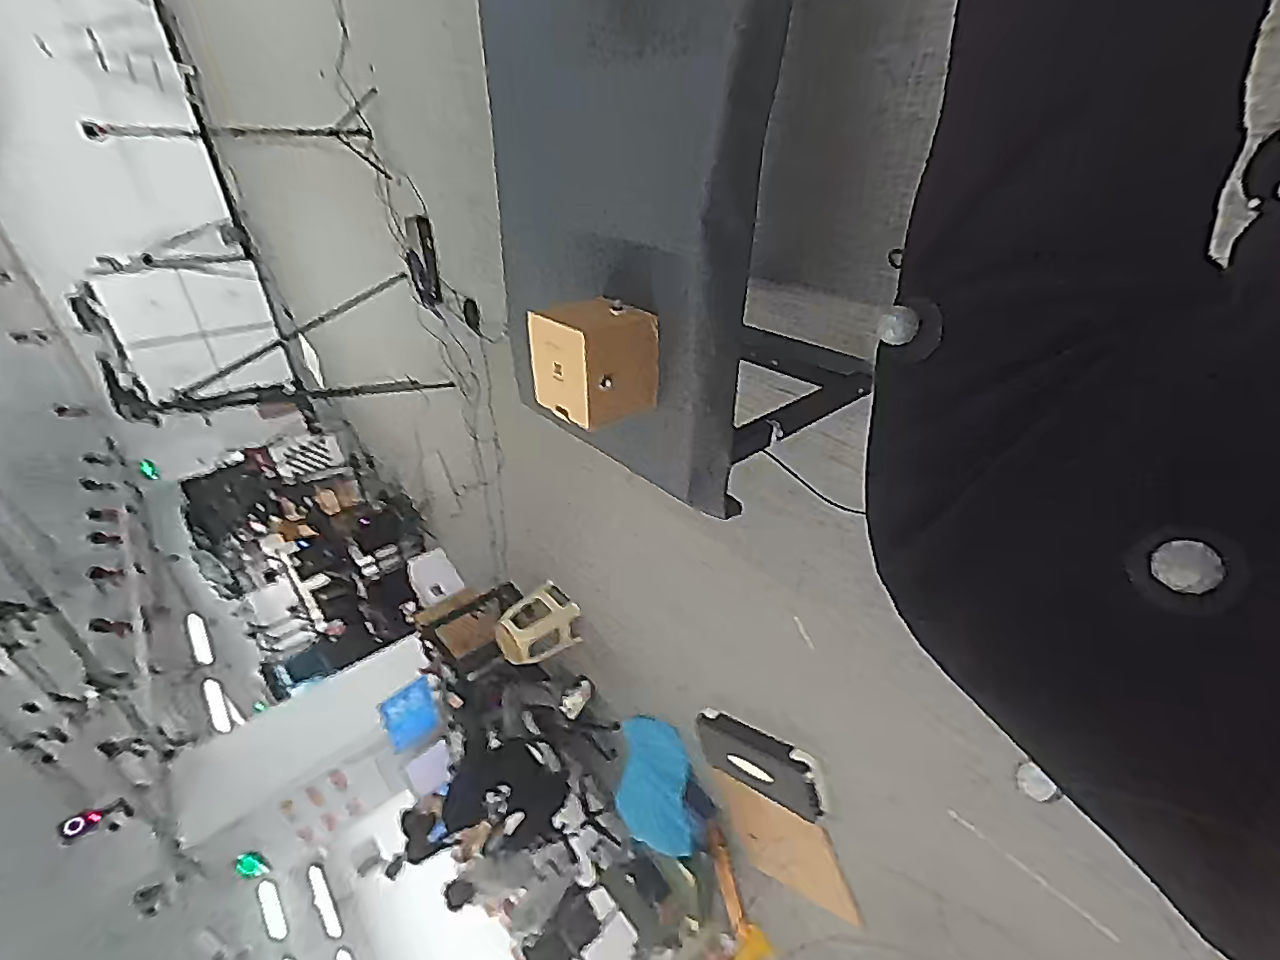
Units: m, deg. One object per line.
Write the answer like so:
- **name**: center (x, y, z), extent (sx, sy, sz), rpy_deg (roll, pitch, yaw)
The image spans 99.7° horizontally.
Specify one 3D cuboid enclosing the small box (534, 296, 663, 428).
- **small box**: center (-0.072, -0.221, 0.986), extent (0.168, 0.176, 0.179), rpy_deg (30, 132, 39)
